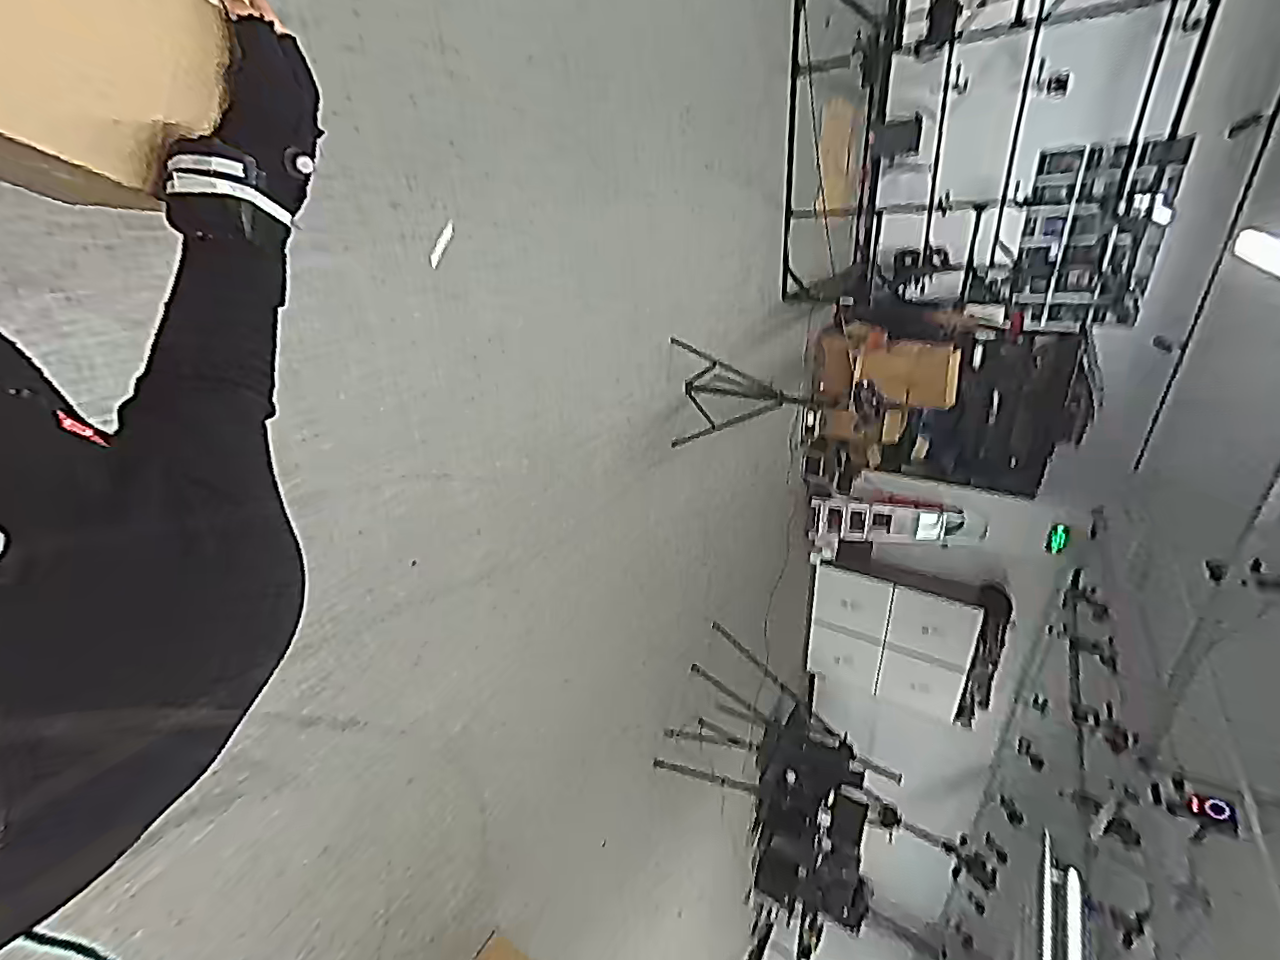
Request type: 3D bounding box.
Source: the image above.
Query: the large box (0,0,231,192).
[{"bbox_3d":[-0.535,-0.417,0.310,0.408,0.320,0.320,5,102,-62],"label":"large box"}]
